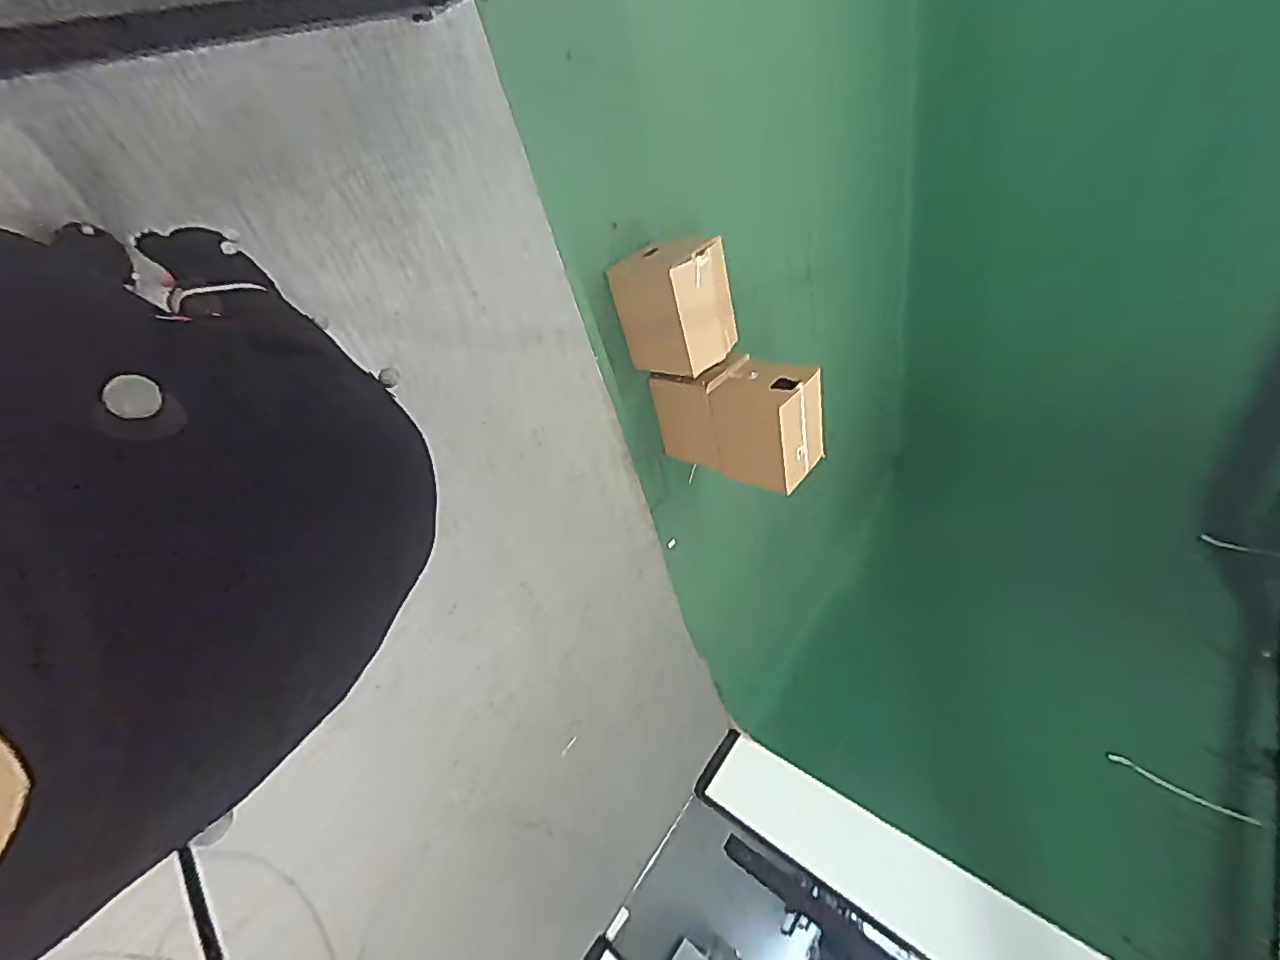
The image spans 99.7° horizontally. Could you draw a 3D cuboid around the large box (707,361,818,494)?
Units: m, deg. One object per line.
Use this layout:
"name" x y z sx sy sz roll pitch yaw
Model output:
"large box" 0.500 -0.219 2.172 0.320 0.320 0.408 -41 133 -31
